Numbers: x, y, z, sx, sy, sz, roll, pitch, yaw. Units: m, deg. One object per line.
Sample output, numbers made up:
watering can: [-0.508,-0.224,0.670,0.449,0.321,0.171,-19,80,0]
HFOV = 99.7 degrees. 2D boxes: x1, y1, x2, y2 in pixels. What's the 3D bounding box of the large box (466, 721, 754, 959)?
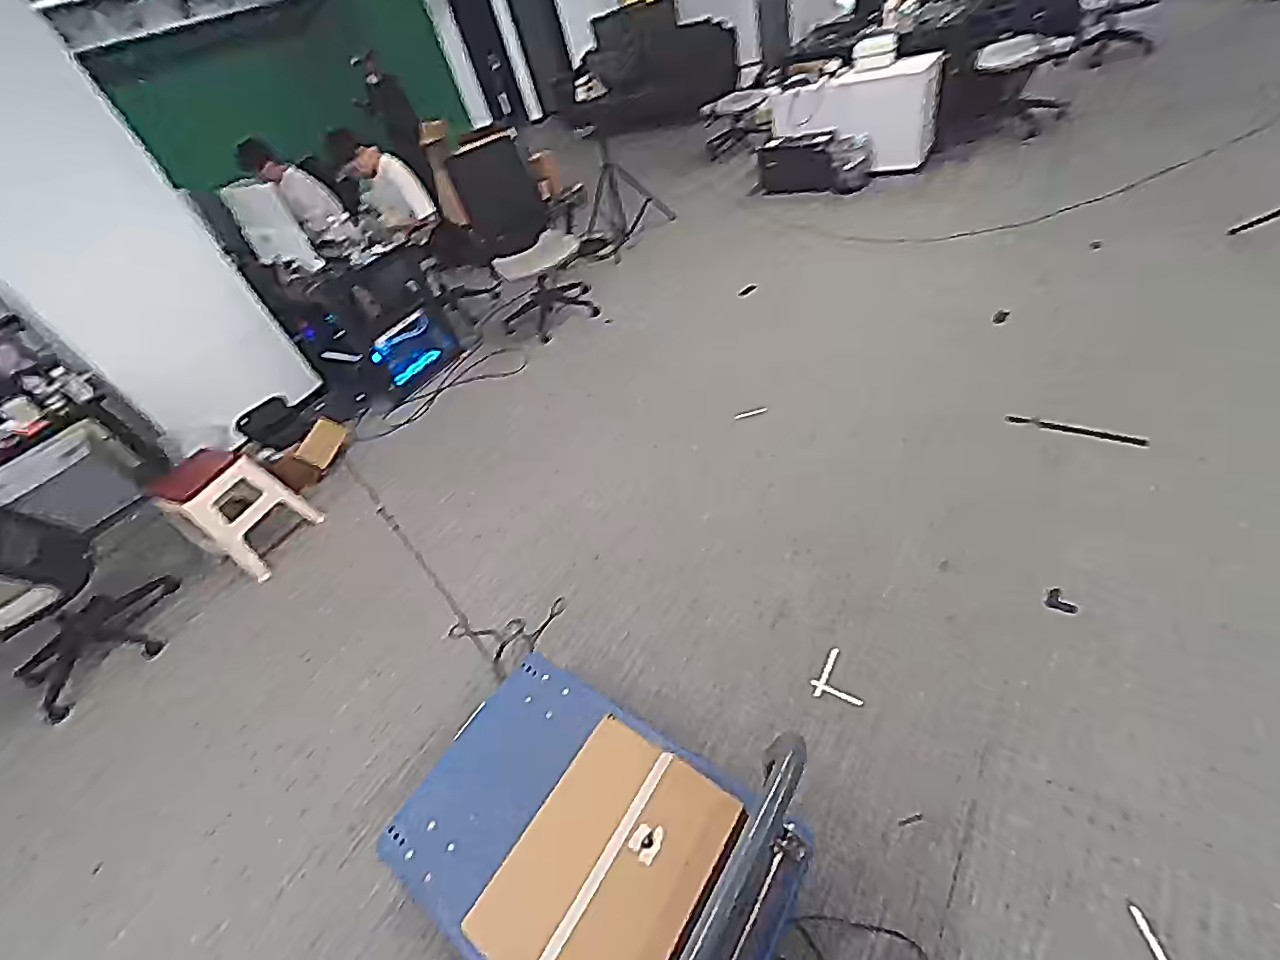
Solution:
large box: [-0.026,0.757,0.999,0.320,0.320,0.408,19,53,33]
